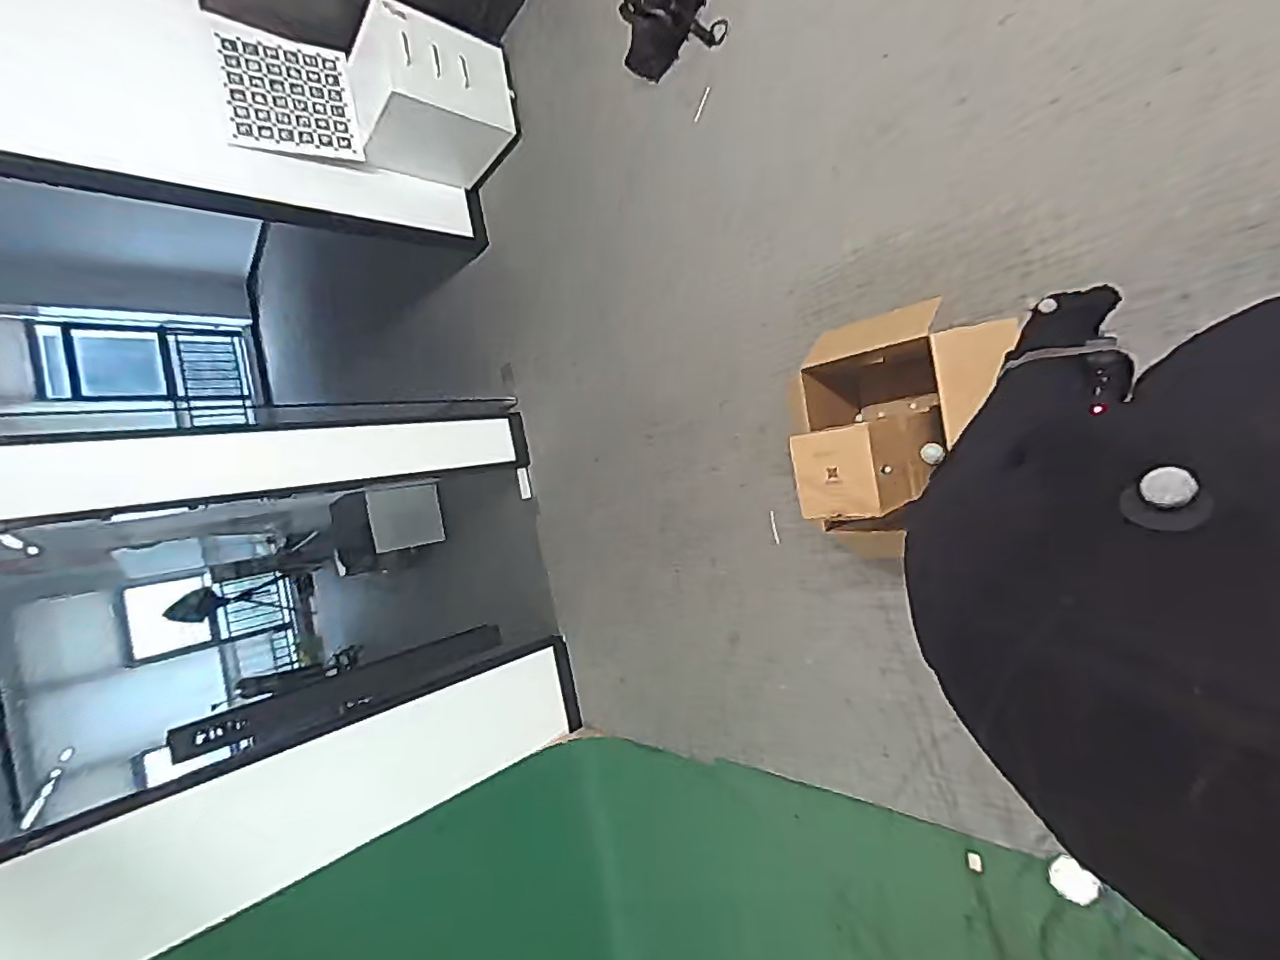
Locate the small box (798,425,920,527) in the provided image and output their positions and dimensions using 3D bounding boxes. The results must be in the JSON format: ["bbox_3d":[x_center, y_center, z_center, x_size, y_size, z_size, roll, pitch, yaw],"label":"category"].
[{"bbox_3d":[0.453,-0.008,1.111,0.168,0.176,0.179,-9,92,47],"label":"small box"}]
